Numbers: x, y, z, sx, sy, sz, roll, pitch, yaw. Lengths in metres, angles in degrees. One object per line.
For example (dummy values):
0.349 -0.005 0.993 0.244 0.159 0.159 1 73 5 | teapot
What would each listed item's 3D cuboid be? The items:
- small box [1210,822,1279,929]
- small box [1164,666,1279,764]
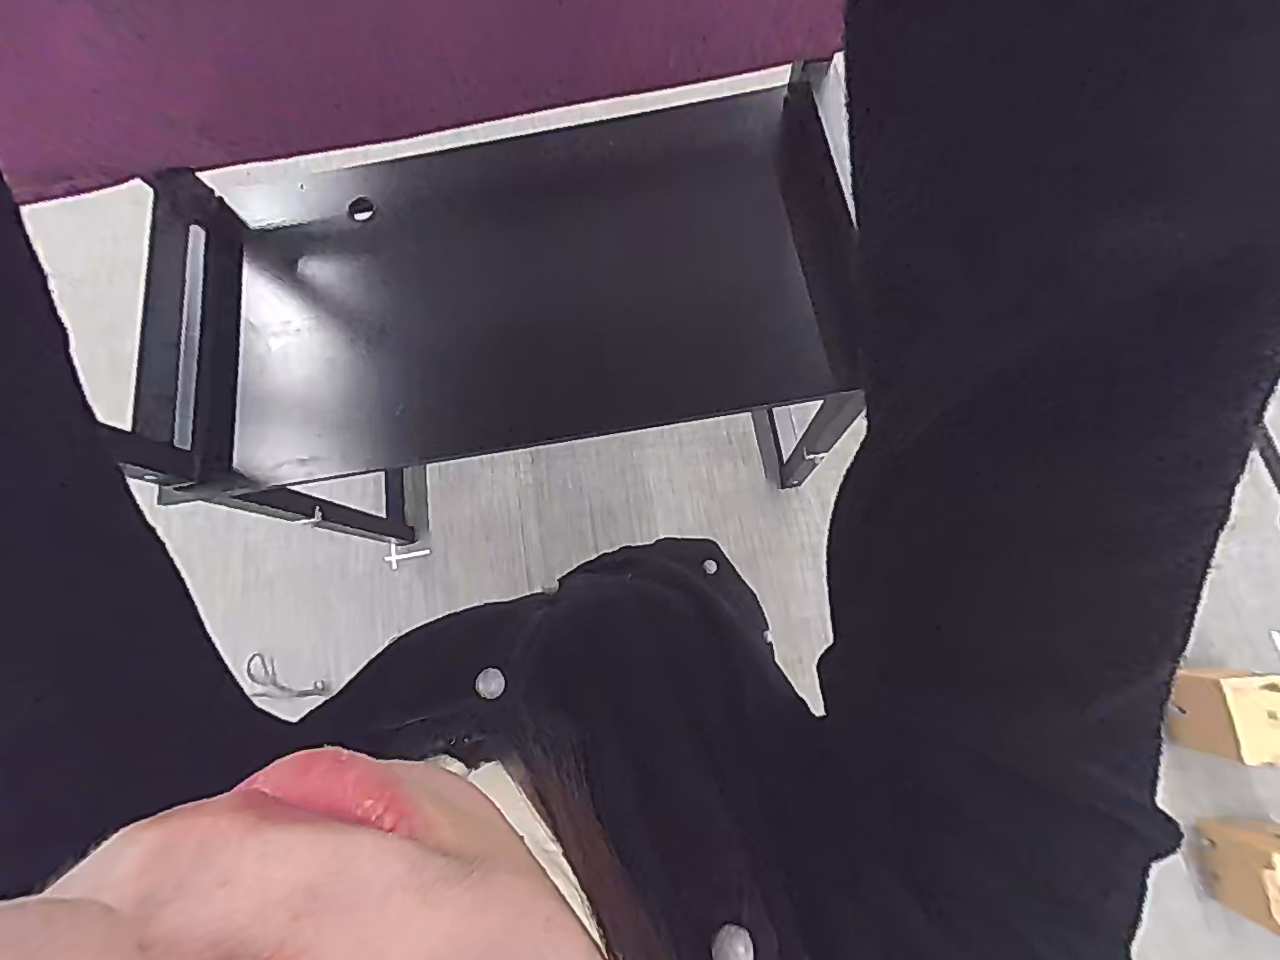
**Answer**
1.391 0.853 1.156 0.179 0.176 0.168 -4 76 3 | small box
1.369 0.531 1.236 0.168 0.176 0.179 -4 77 4 | small box
